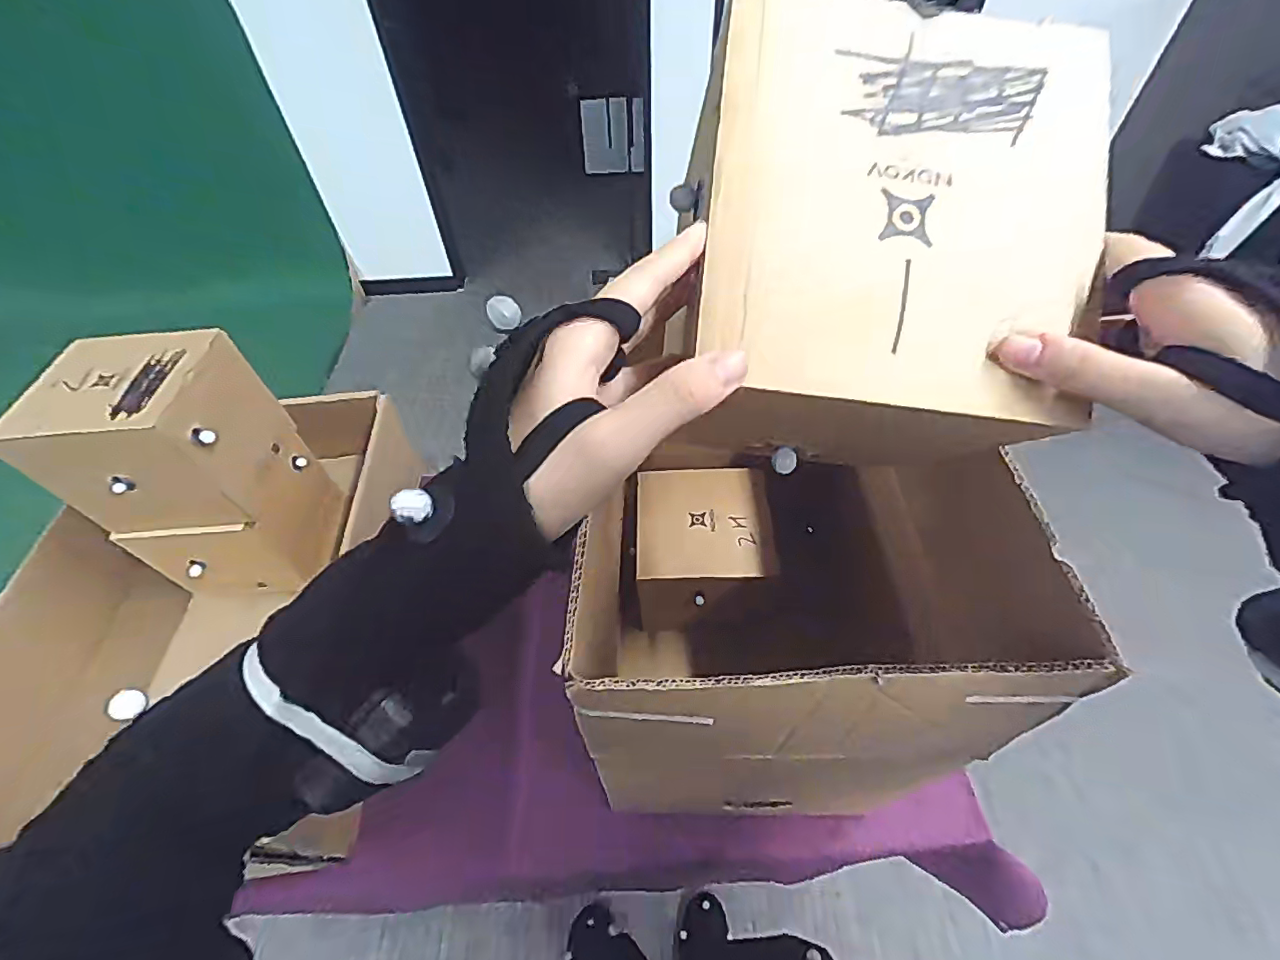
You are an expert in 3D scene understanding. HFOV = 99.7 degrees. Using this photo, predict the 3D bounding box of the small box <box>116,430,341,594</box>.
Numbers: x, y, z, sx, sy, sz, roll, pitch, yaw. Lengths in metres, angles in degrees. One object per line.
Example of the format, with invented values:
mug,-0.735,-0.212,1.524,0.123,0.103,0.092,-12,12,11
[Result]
small box,-0.564,0.053,0.776,0.168,0.176,0.179,-4,52,0

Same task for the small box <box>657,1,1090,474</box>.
small box,0.103,-0.104,0.308,0.168,0.176,0.179,6,86,-2
